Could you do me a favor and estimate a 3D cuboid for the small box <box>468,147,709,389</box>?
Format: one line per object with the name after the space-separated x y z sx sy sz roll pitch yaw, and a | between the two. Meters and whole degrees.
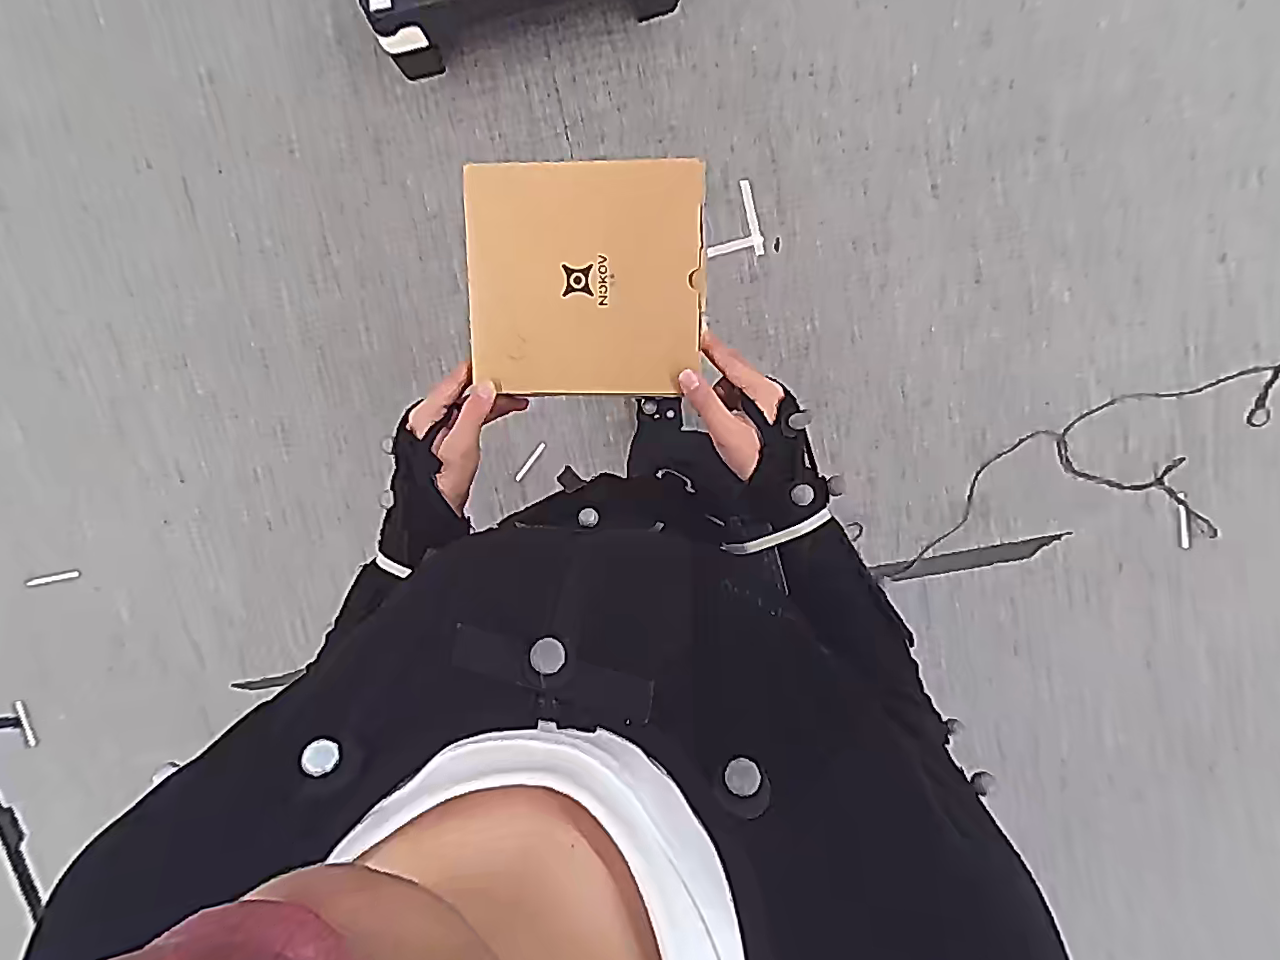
-0.035 -0.166 0.475 0.179 0.176 0.168 1 98 2 | small box

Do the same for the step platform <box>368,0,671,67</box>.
-0.259 -1.151 1.142 0.684 0.204 0.286 -12 96 4 | step platform
